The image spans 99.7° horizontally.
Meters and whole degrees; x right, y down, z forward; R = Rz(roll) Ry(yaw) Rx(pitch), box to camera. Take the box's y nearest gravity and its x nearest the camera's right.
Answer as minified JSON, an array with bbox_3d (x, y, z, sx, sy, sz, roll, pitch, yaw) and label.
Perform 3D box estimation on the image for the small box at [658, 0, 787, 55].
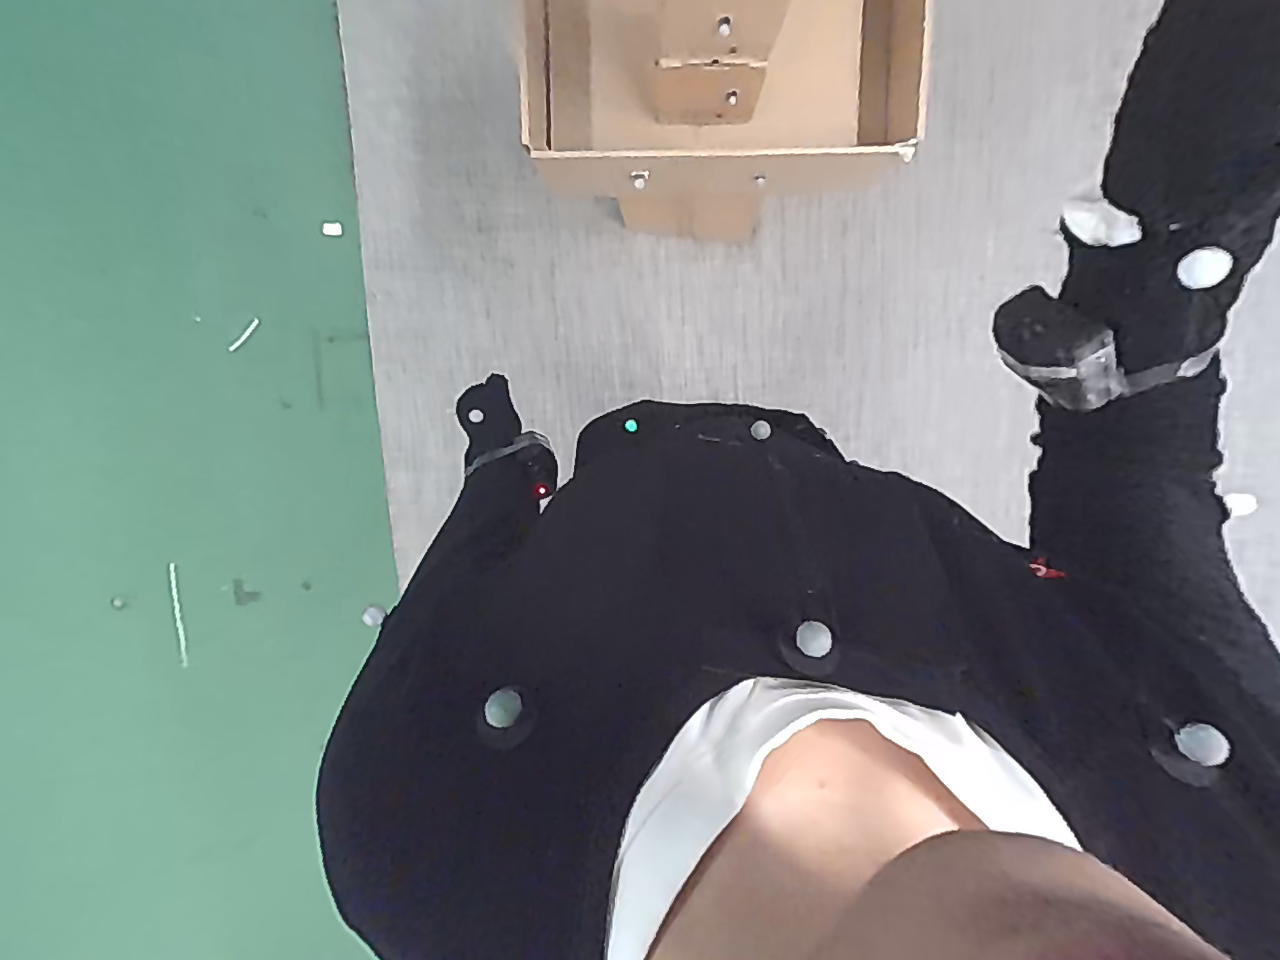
[{"bbox_3d":[0.110,-0.694,0.705,0.168,0.176,0.179,0,98,0],"label":"small box"}]

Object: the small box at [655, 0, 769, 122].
[{"bbox_3d":[0.109,-0.707,0.868,0.168,0.176,0.179,-1,96,0],"label":"small box"}]
